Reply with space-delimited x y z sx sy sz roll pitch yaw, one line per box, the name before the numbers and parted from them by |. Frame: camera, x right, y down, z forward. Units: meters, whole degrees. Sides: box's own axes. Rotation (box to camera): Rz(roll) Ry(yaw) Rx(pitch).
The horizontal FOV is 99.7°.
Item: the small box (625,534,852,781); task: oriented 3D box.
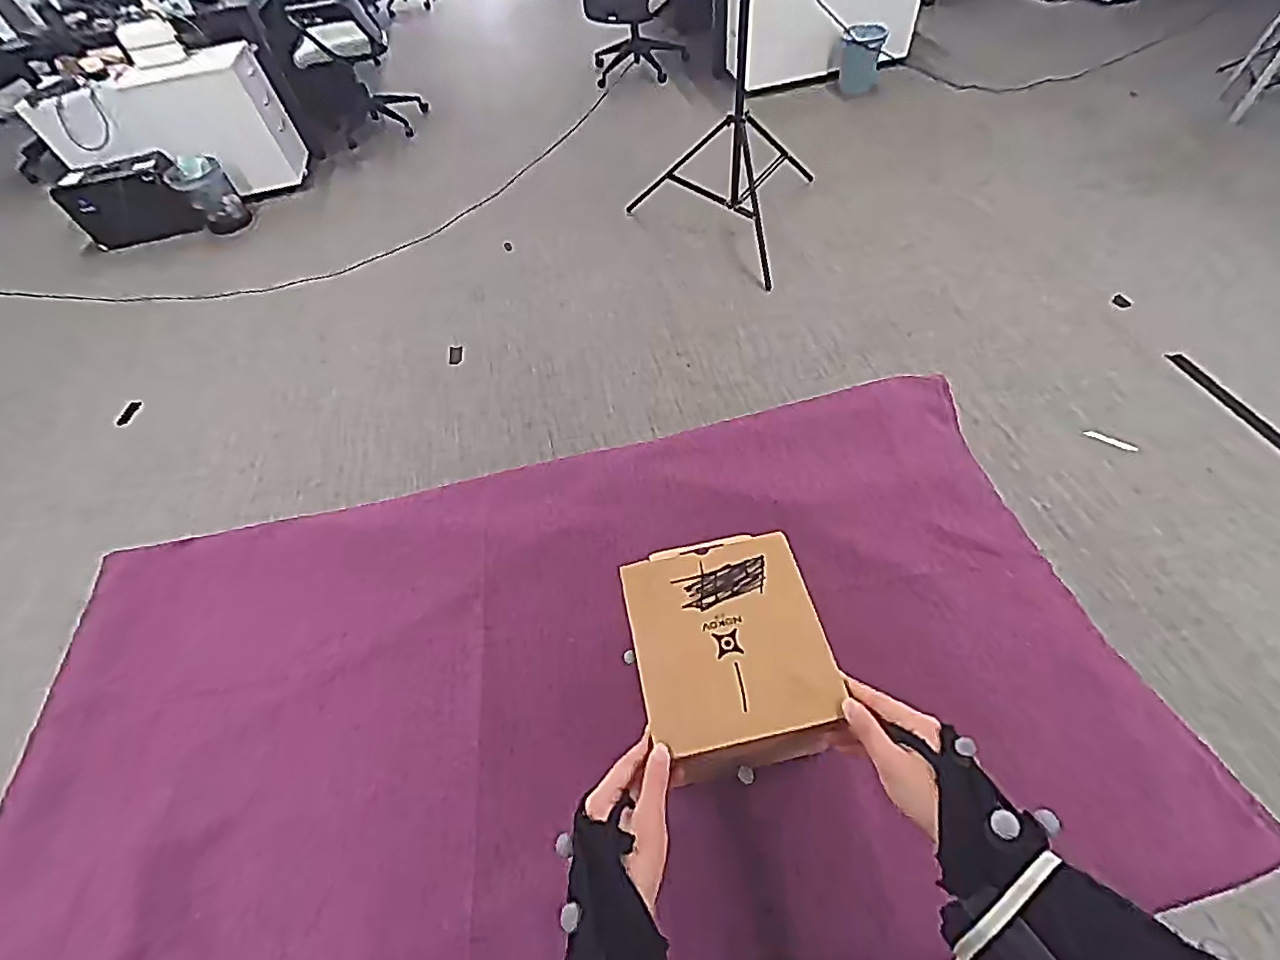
small box | 0.085 0.182 0.546 0.168 0.176 0.179 -12 54 -1
